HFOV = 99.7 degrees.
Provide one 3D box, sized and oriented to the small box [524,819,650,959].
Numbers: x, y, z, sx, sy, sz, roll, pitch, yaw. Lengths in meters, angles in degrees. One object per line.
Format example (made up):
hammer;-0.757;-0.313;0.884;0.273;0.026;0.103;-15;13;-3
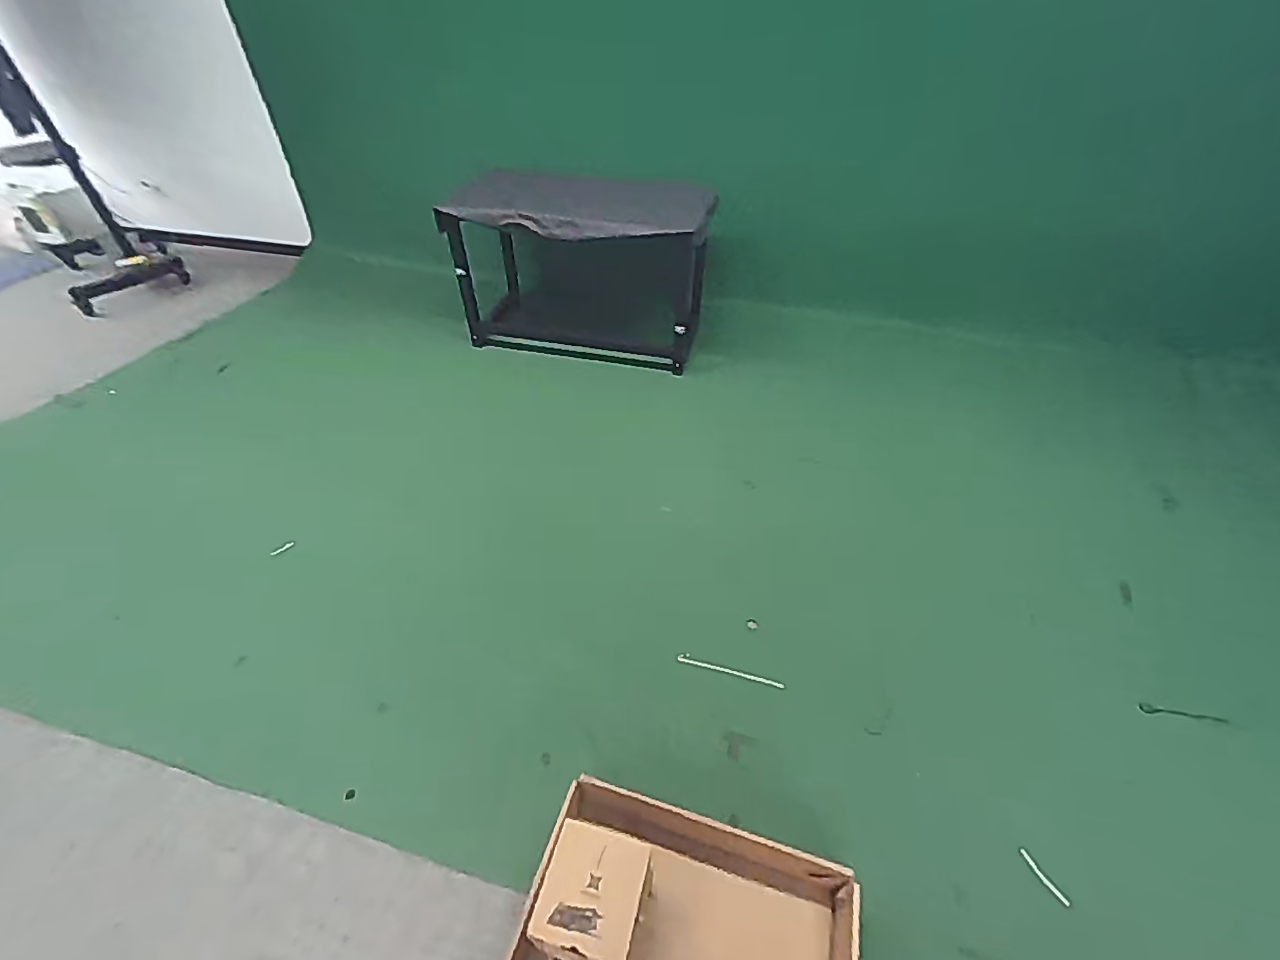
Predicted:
small box;-0.083;0.741;0.951;0.168;0.176;0.179;12;43;11

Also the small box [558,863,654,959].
small box;-0.075;0.856;1.069;0.168;0.176;0.179;10;44;11
